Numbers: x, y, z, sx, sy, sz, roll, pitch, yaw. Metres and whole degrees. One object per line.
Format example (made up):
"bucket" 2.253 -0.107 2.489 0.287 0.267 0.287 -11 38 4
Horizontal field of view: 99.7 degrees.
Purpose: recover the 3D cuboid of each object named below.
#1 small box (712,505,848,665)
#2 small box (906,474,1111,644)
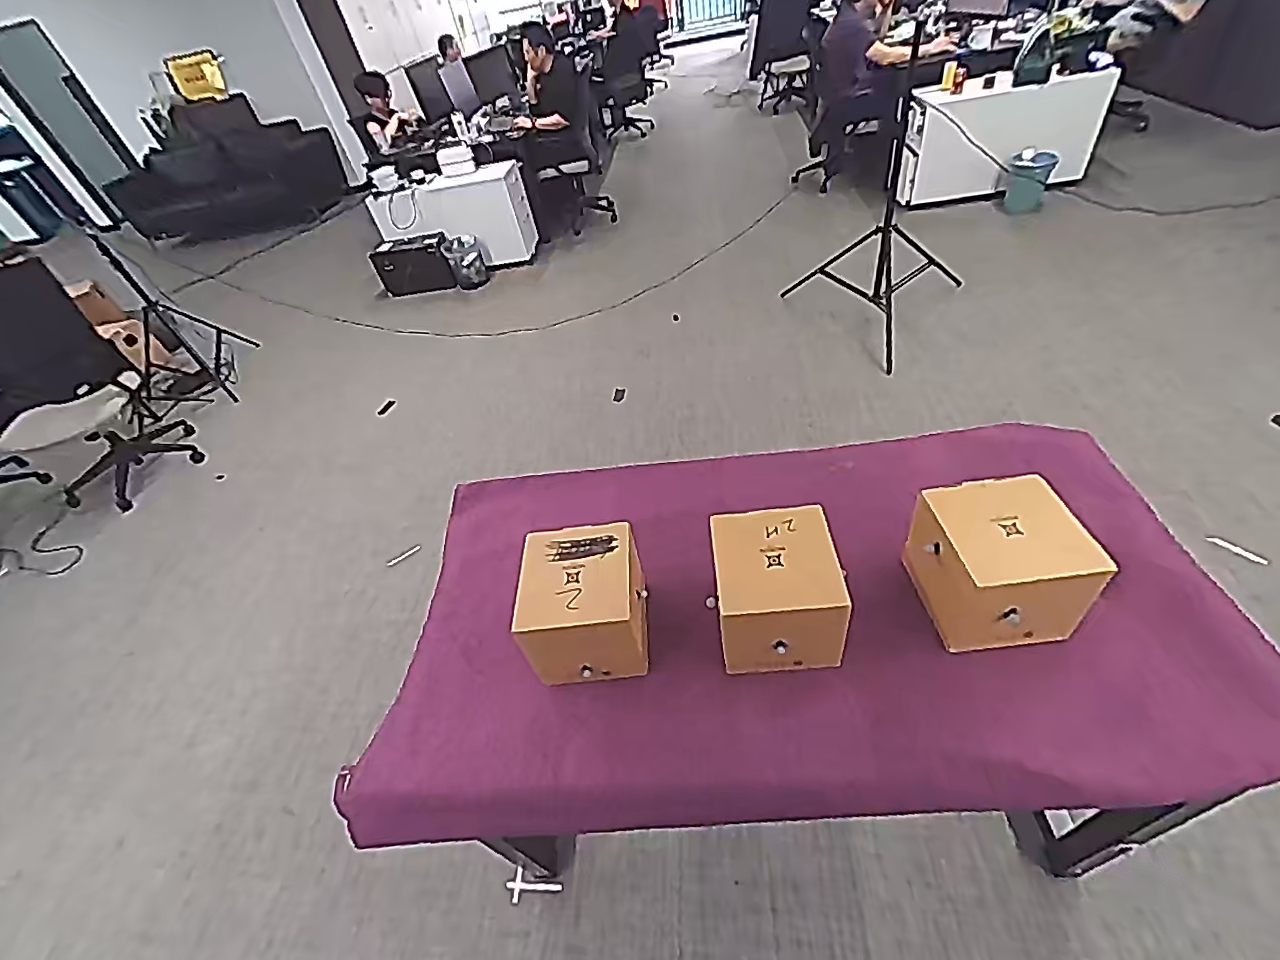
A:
"small box" 0.200 0.162 0.806 0.168 0.176 0.179 -6 44 7
"small box" 0.506 0.120 0.777 0.168 0.176 0.179 -9 42 6
